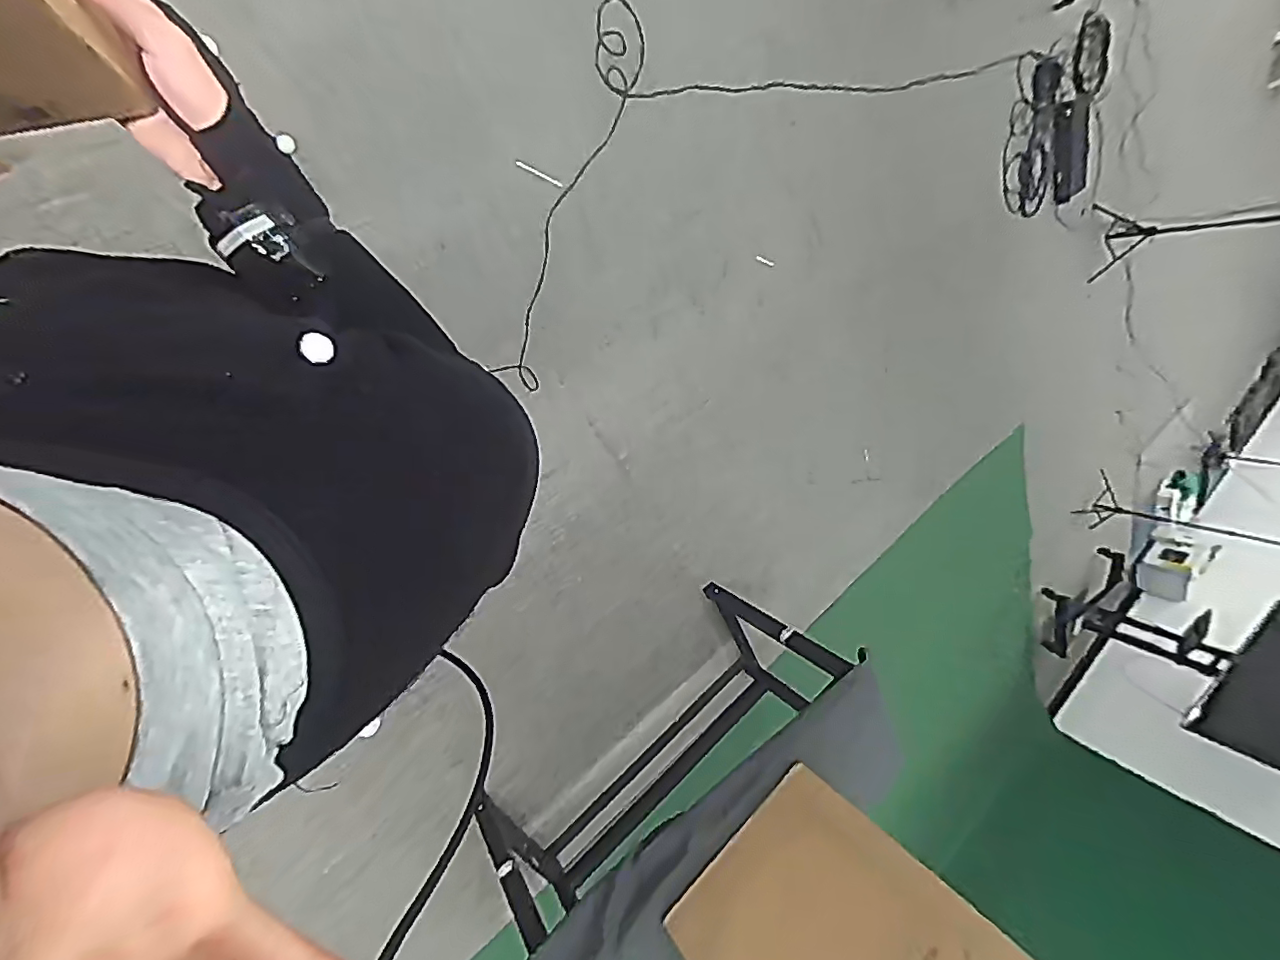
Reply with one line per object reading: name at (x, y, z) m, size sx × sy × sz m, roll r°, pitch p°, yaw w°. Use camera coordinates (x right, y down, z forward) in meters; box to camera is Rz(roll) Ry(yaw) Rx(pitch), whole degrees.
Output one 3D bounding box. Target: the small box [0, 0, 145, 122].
small box at (-0.391, -0.281, 0.244) m, size 0.168 × 0.176 × 0.179 m, roll -23°, pitch 109°, yaw -15°
